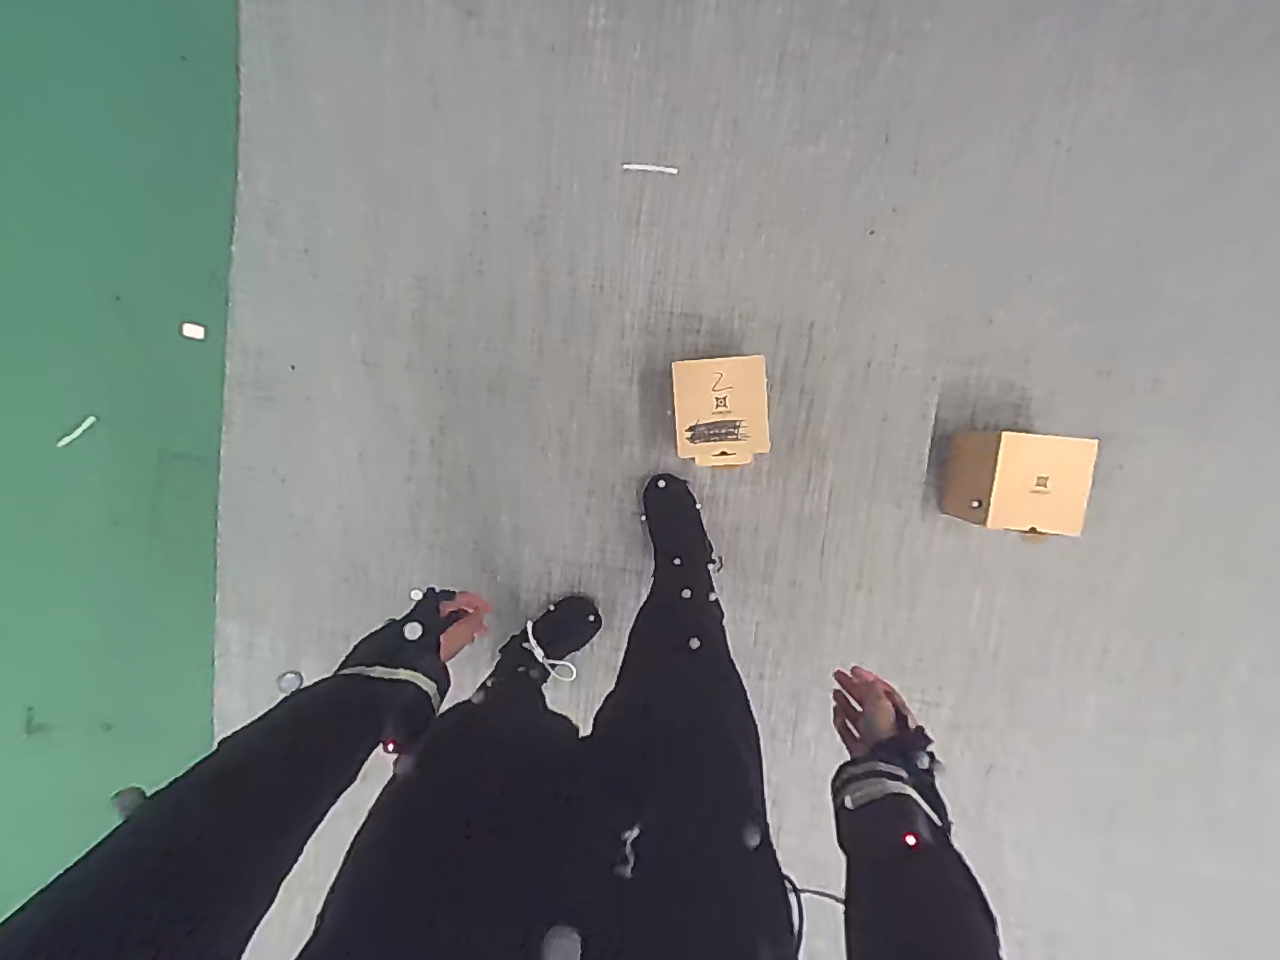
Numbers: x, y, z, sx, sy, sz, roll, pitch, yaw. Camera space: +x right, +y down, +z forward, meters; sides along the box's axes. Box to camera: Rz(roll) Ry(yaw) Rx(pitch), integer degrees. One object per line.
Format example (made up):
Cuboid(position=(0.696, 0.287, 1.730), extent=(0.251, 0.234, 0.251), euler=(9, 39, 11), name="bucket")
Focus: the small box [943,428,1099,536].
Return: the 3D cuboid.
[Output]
Cuboid(position=(0.701, -0.004, 1.017), extent=(0.168, 0.176, 0.179), euler=(6, 97, 2), name="small box")
